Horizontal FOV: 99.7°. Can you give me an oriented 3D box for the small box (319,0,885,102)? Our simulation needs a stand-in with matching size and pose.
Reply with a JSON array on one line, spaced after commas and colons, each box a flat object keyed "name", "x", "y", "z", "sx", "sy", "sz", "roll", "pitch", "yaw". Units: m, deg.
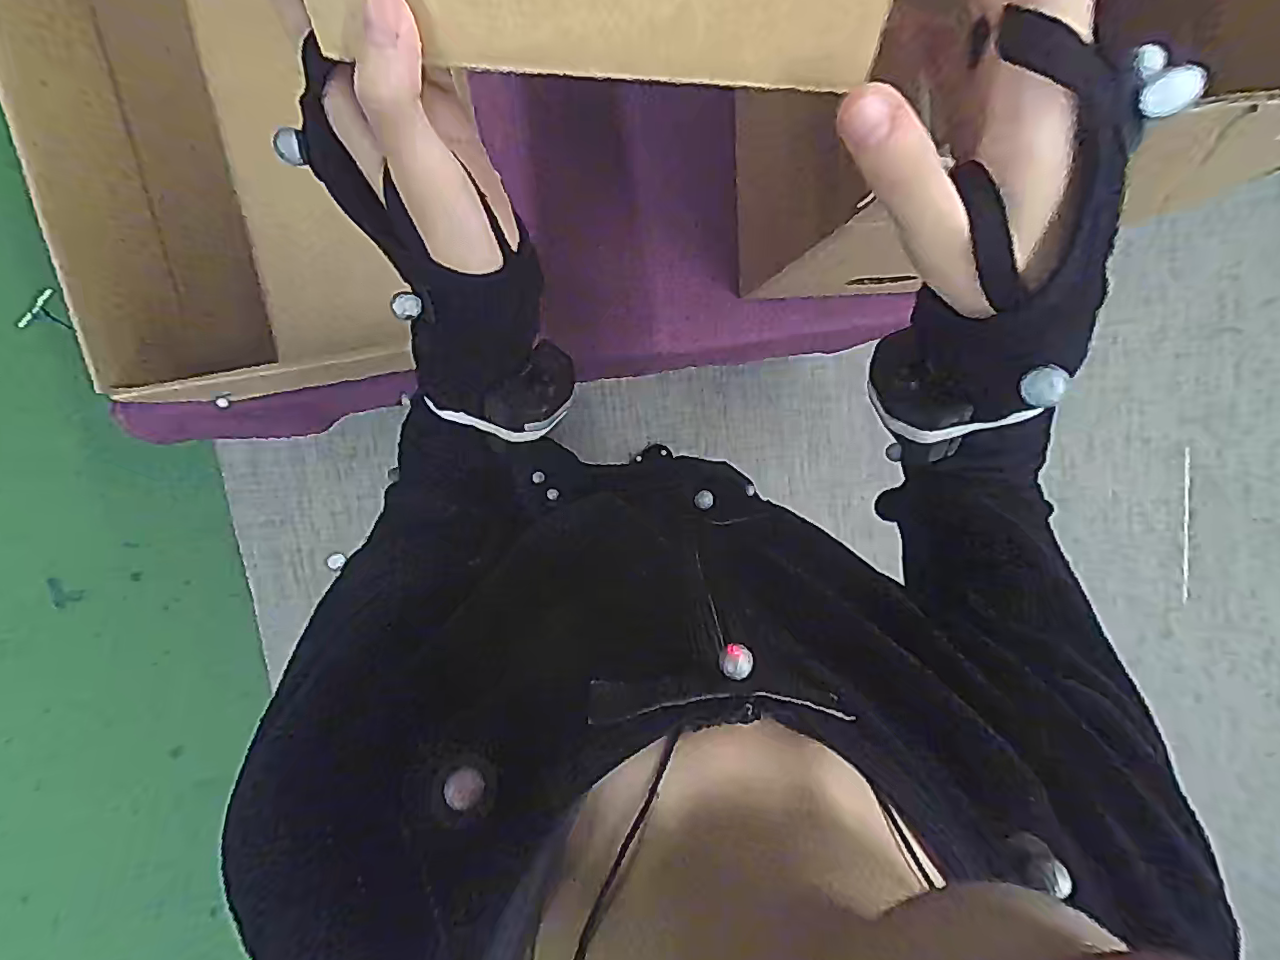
[{"name": "small box", "x": -0.002, "y": -0.238, "z": 0.143, "sx": 0.168, "sy": 0.179, "sz": 0.176, "roll": 6, "pitch": 54, "yaw": 3}]
